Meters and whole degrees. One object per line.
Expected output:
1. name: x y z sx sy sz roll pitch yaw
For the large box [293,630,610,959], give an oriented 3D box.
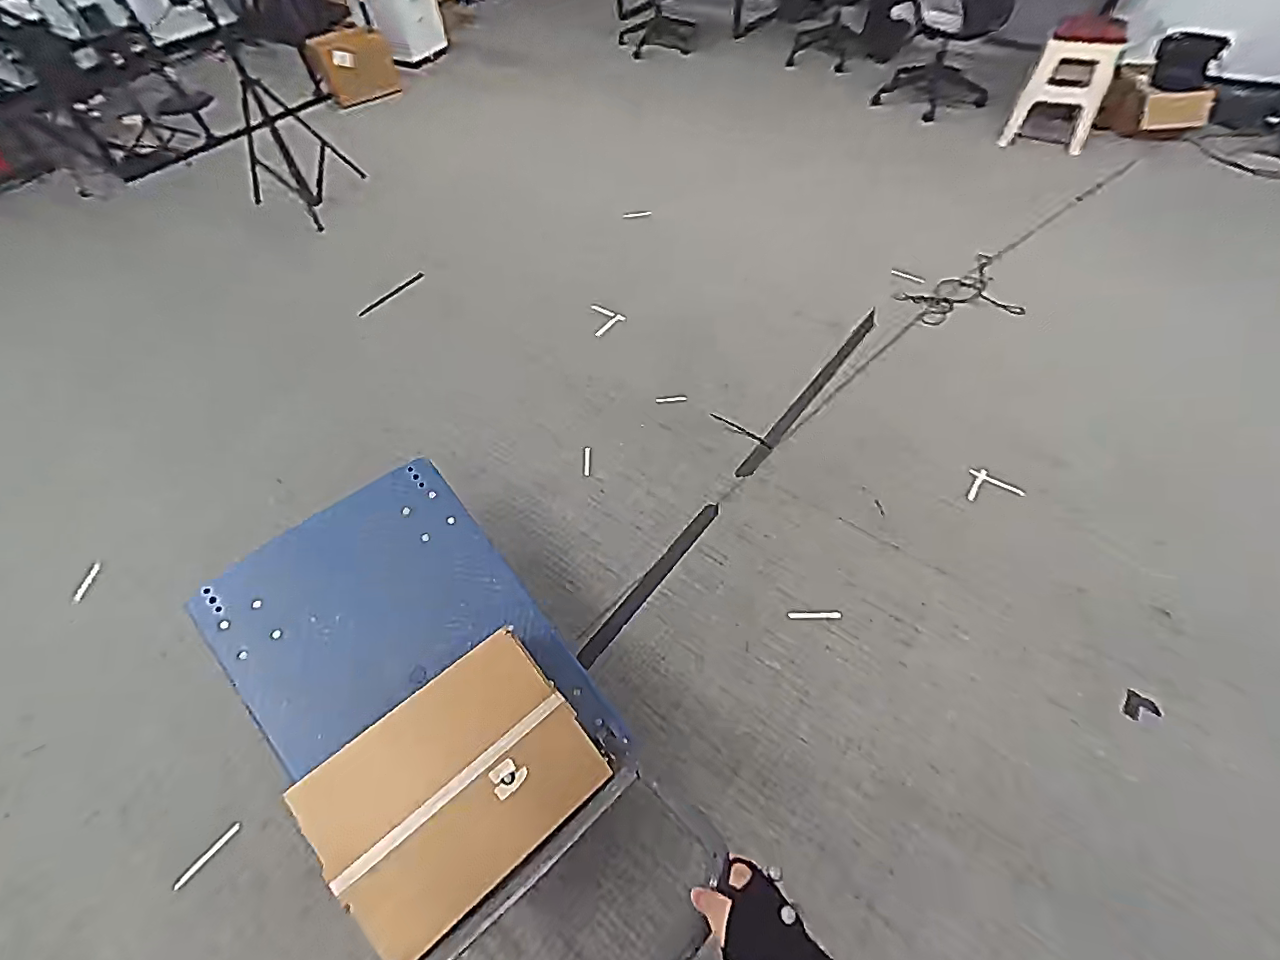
1. large box: -0.319 0.545 1.006 0.408 0.320 0.320 -36 81 -22
